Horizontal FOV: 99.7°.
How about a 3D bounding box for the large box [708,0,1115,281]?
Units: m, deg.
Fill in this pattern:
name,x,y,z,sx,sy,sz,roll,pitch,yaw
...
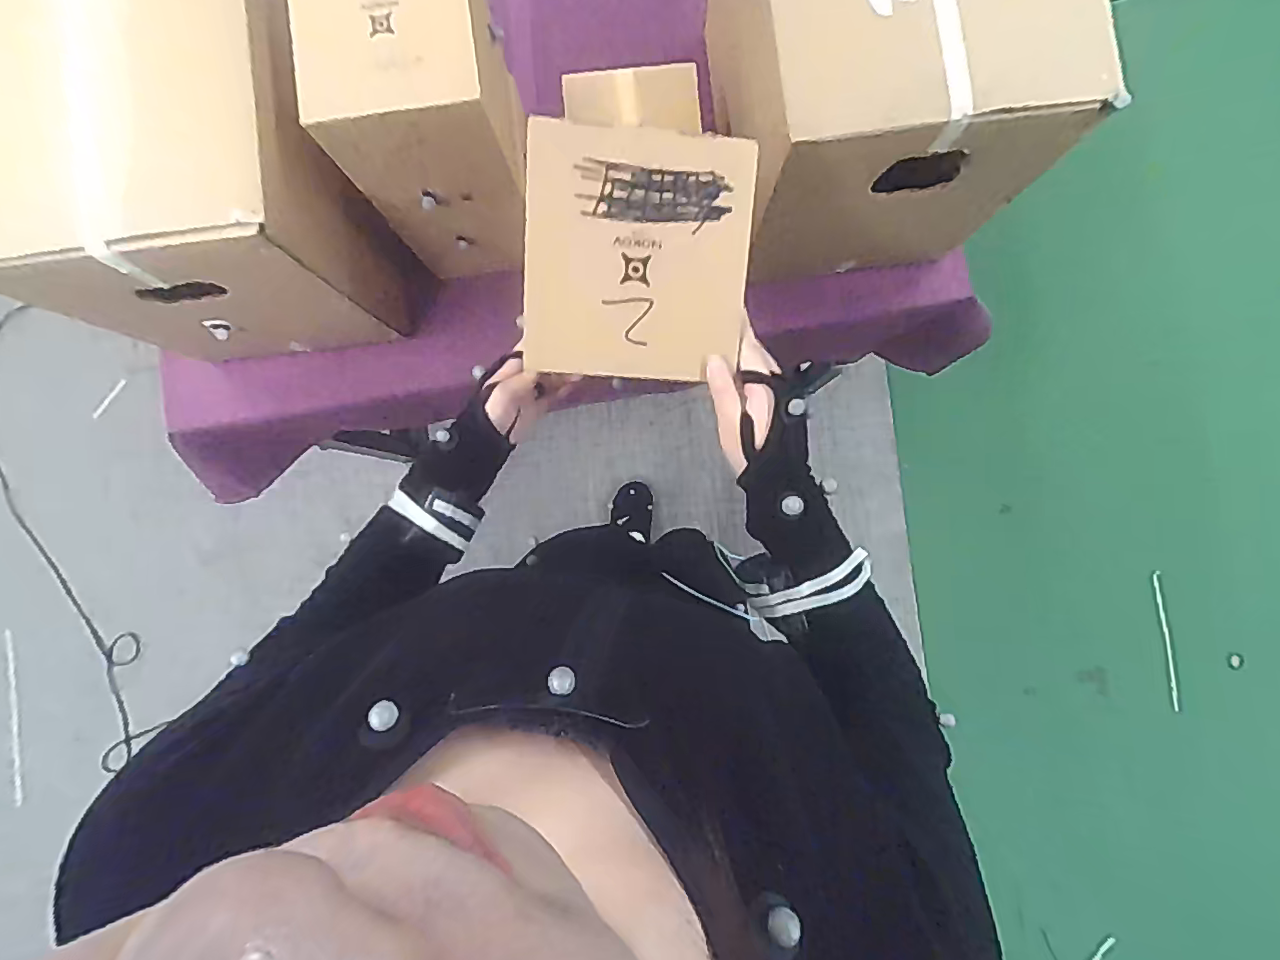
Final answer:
name,x,y,z,sx,sy,sz,roll,pitch,yaw
large box,0.279,-0.515,0.673,0.320,0.320,0.408,-6,87,0
